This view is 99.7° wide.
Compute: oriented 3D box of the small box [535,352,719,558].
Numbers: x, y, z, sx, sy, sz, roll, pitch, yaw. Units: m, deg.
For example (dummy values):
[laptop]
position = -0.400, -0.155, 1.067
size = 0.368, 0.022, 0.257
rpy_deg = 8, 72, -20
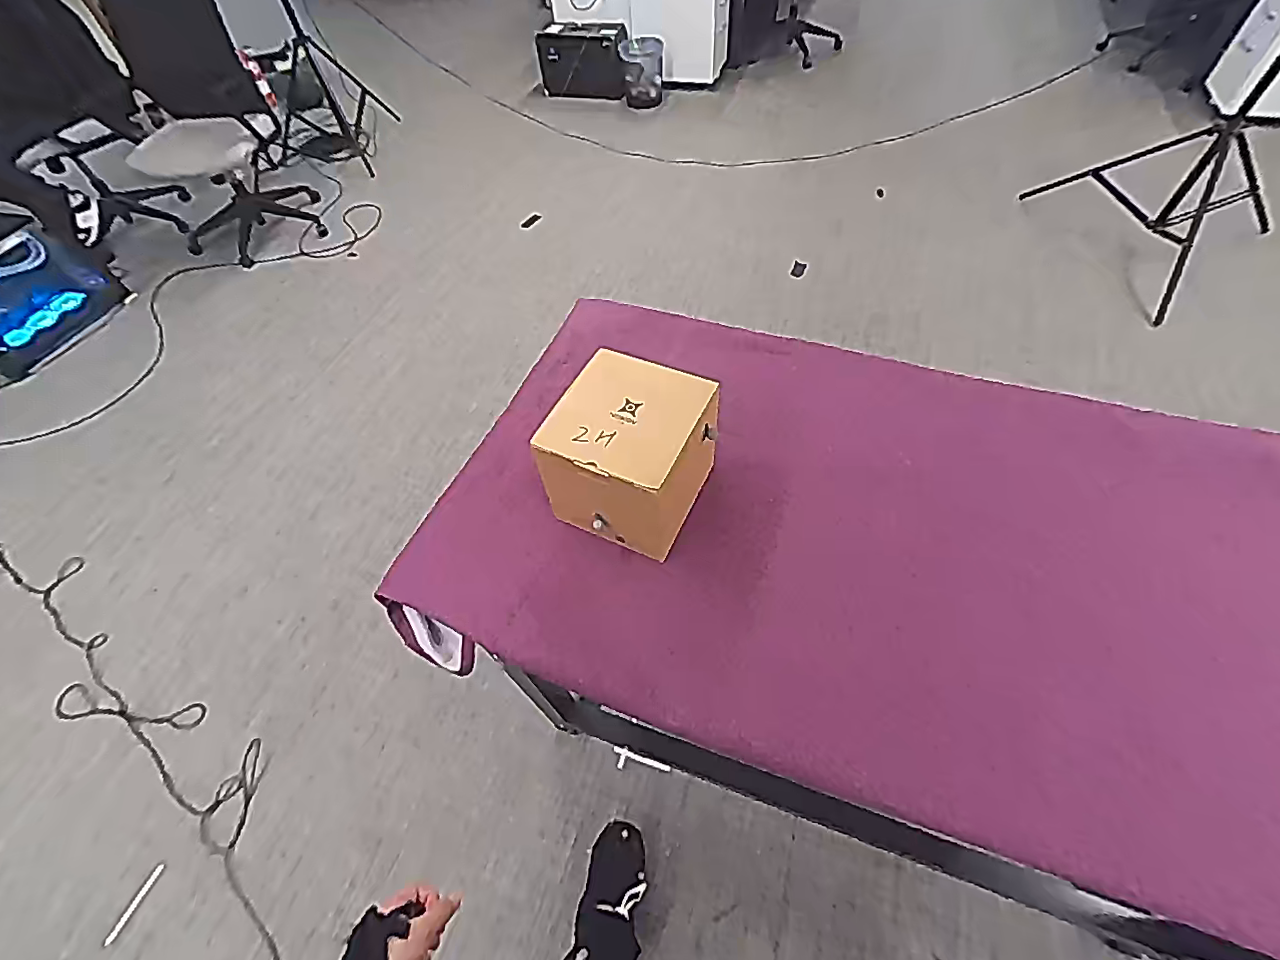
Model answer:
[small box]
position = -0.010, -0.030, 0.704
size = 0.168, 0.176, 0.179
rpy_deg = 20, 59, 18
